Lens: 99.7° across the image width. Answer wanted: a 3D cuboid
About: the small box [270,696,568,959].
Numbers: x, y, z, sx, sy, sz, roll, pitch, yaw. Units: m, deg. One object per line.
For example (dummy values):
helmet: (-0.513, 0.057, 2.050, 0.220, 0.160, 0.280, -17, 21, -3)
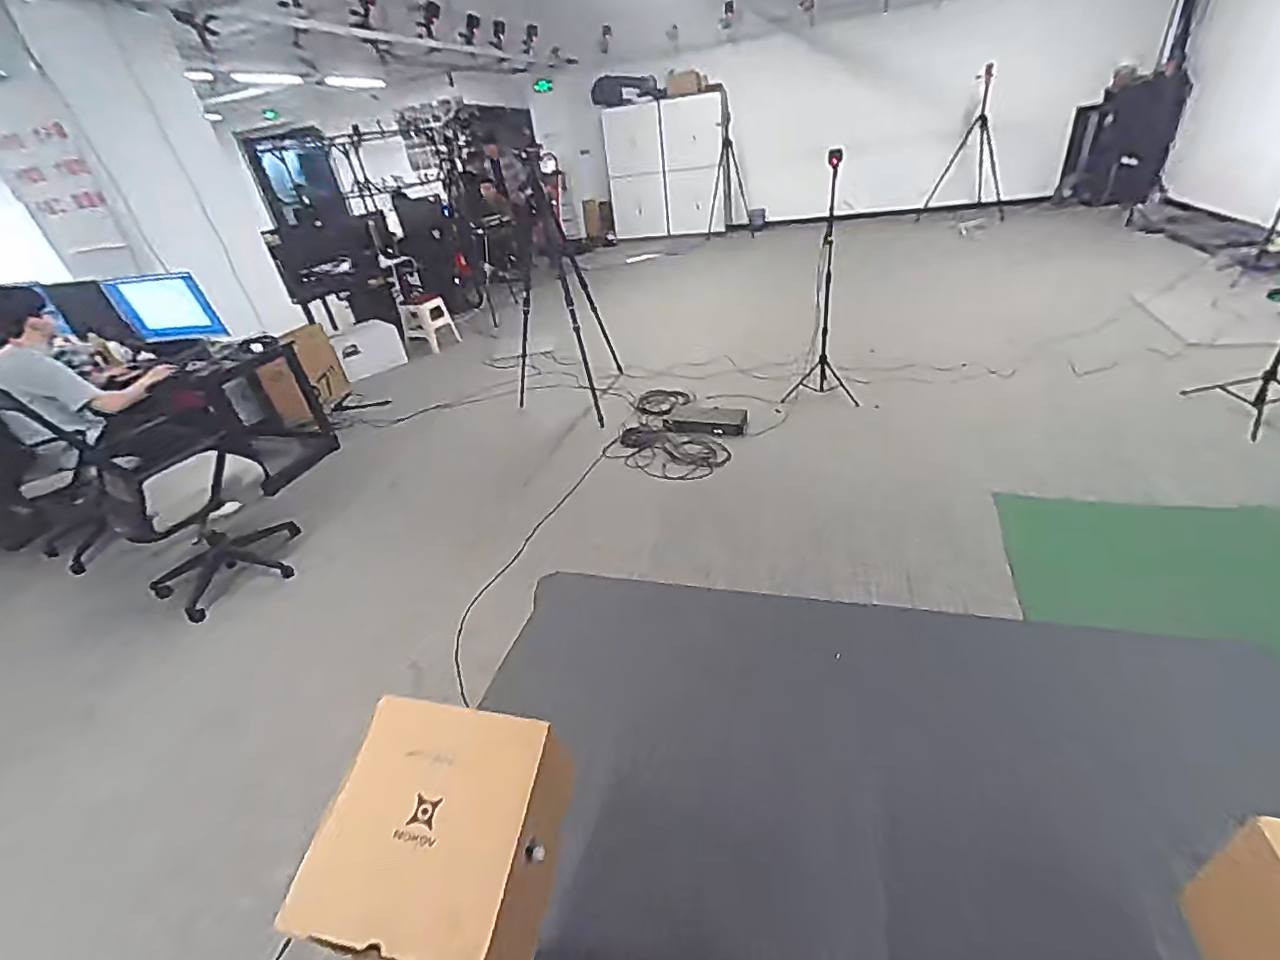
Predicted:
small box: (-0.171, 0.324, 0.492, 0.168, 0.176, 0.179, 6, 49, 8)
